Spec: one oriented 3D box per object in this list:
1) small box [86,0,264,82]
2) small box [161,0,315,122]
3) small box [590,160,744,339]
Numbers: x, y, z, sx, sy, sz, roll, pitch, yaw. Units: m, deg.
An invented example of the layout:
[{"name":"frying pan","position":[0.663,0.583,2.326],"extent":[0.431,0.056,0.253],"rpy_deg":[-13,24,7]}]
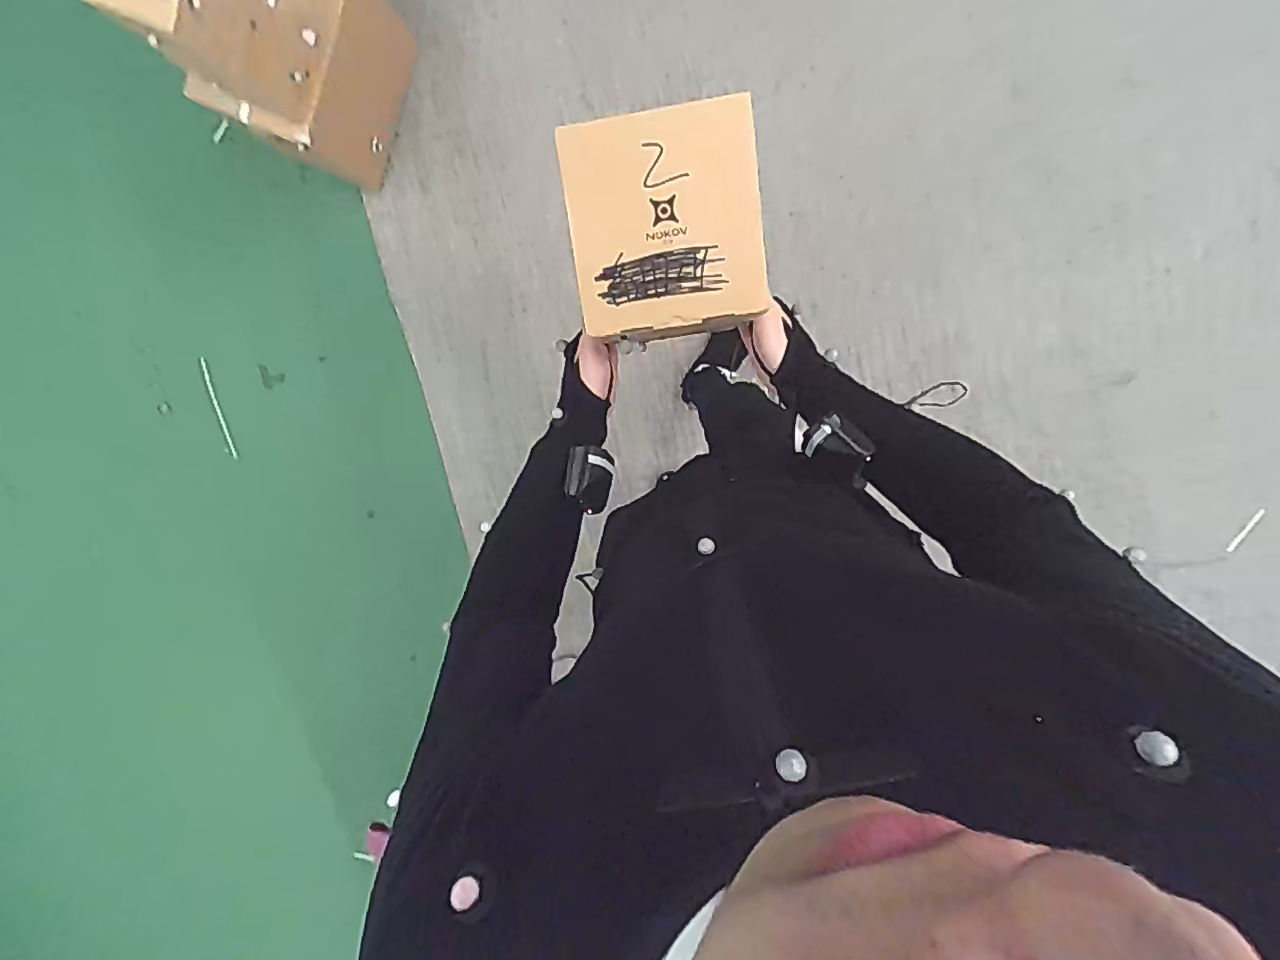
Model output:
[{"name":"small box","position":[-0.828,-0.861,0.964],"extent":[0.179,0.176,0.168],"rpy_deg":[21,100,0]},{"name":"small box","position":[-0.828,-0.891,1.126],"extent":[0.179,0.176,0.168],"rpy_deg":[22,100,-1]},{"name":"small box","position":[0.038,-0.280,0.701],"extent":[0.168,0.176,0.179],"rpy_deg":[-7,101,5]}]
